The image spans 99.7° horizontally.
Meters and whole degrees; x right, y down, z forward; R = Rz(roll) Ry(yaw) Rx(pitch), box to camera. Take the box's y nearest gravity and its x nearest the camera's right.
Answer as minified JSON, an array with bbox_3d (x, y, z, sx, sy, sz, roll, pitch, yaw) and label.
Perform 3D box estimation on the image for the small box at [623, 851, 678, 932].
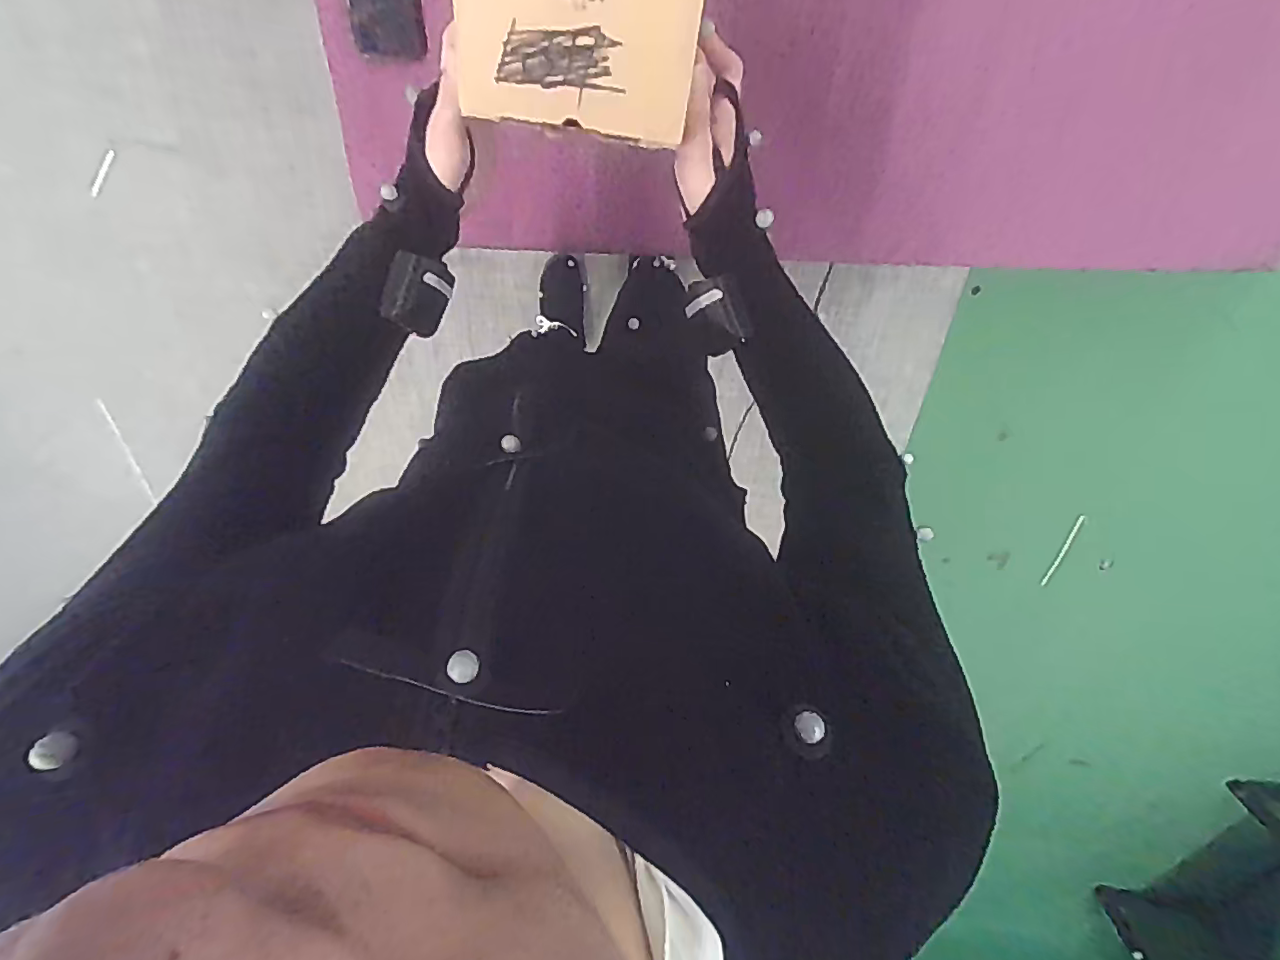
[{"bbox_3d":[0.037,1.438,1.891,0.168,0.176,0.179,9,122,-4],"label":"small box"}]

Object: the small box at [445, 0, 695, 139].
[{"bbox_3d":[-0.040,-0.377,0.409,0.168,0.176,0.179,7,125,-3],"label":"small box"}]
